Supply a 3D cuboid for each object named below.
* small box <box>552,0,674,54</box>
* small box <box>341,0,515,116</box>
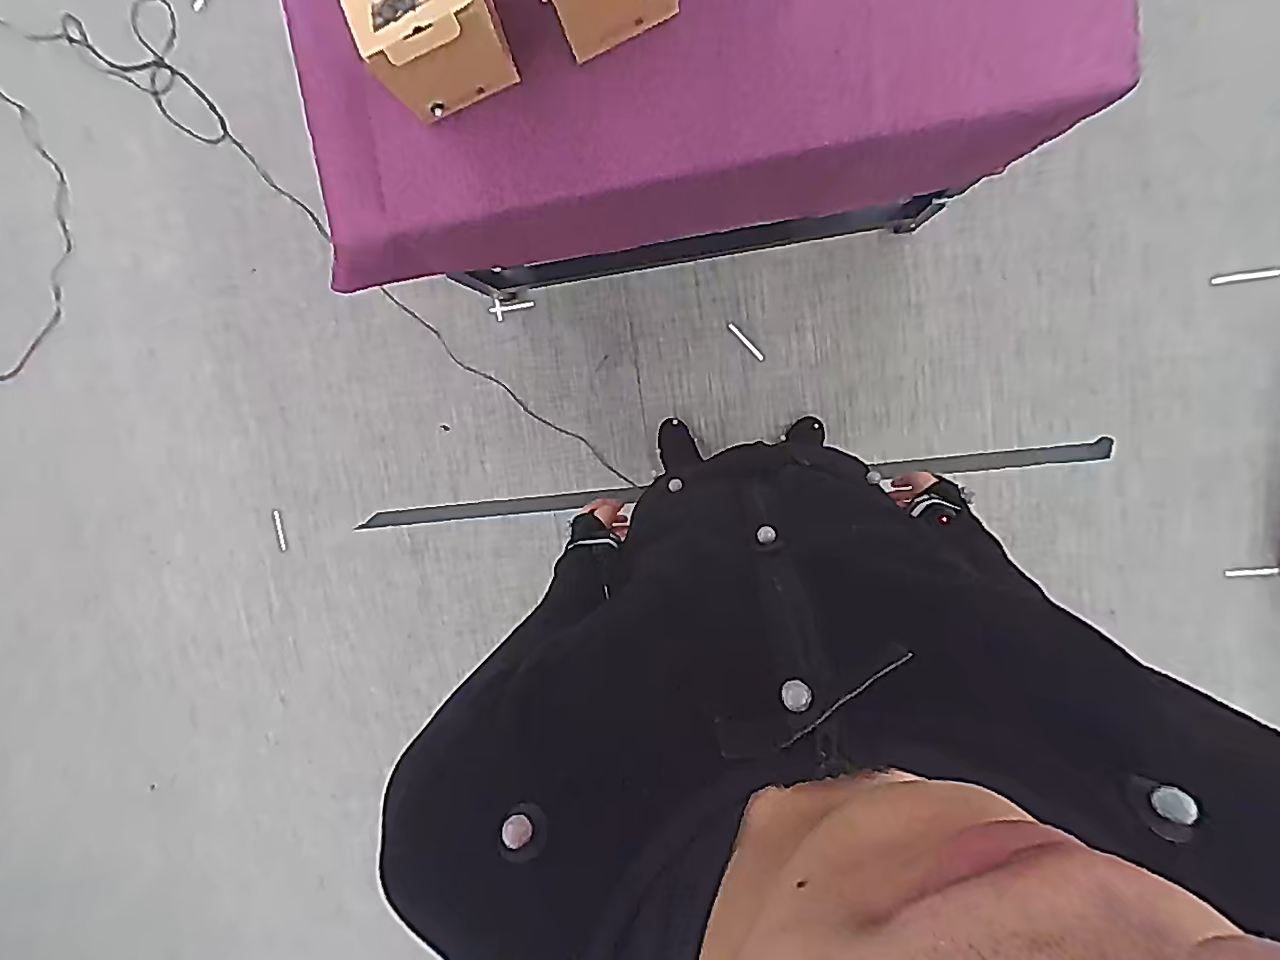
[{"bbox_3d":[-0.058,-0.722,0.722,0.168,0.176,0.179,-20,96,8],"label":"small box"},{"bbox_3d":[-0.297,-0.653,0.757,0.168,0.176,0.179,-19,95,8],"label":"small box"}]
